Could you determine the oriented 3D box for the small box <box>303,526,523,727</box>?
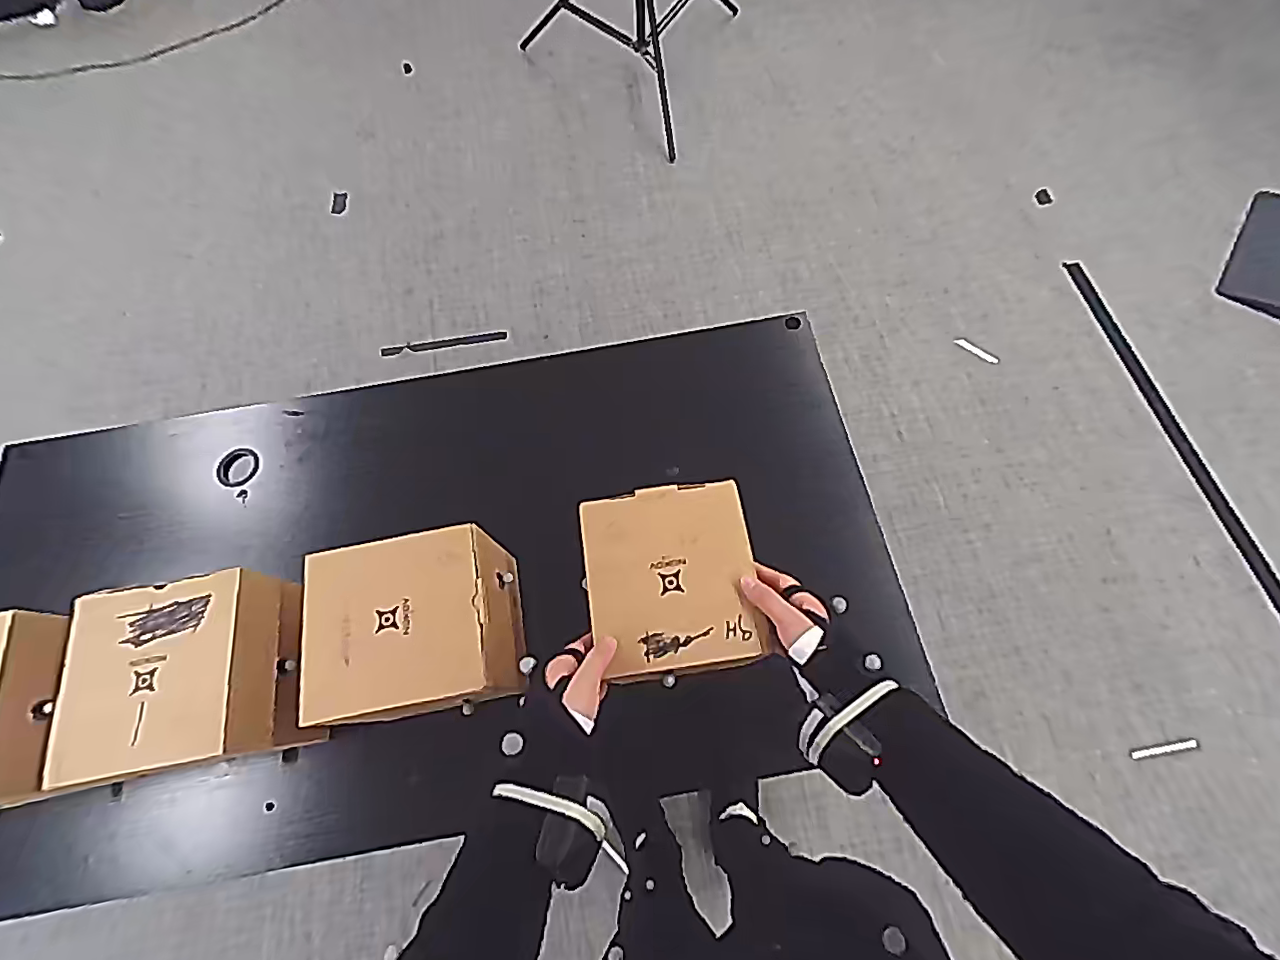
[{"bbox_3d":[-0.235,0.165,0.600,0.179,0.176,0.168,-12,68,-1],"label":"small box"}]

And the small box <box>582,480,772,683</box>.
[{"bbox_3d":[0.033,0.120,0.602,0.168,0.176,0.179,-9,68,0],"label":"small box"}]
